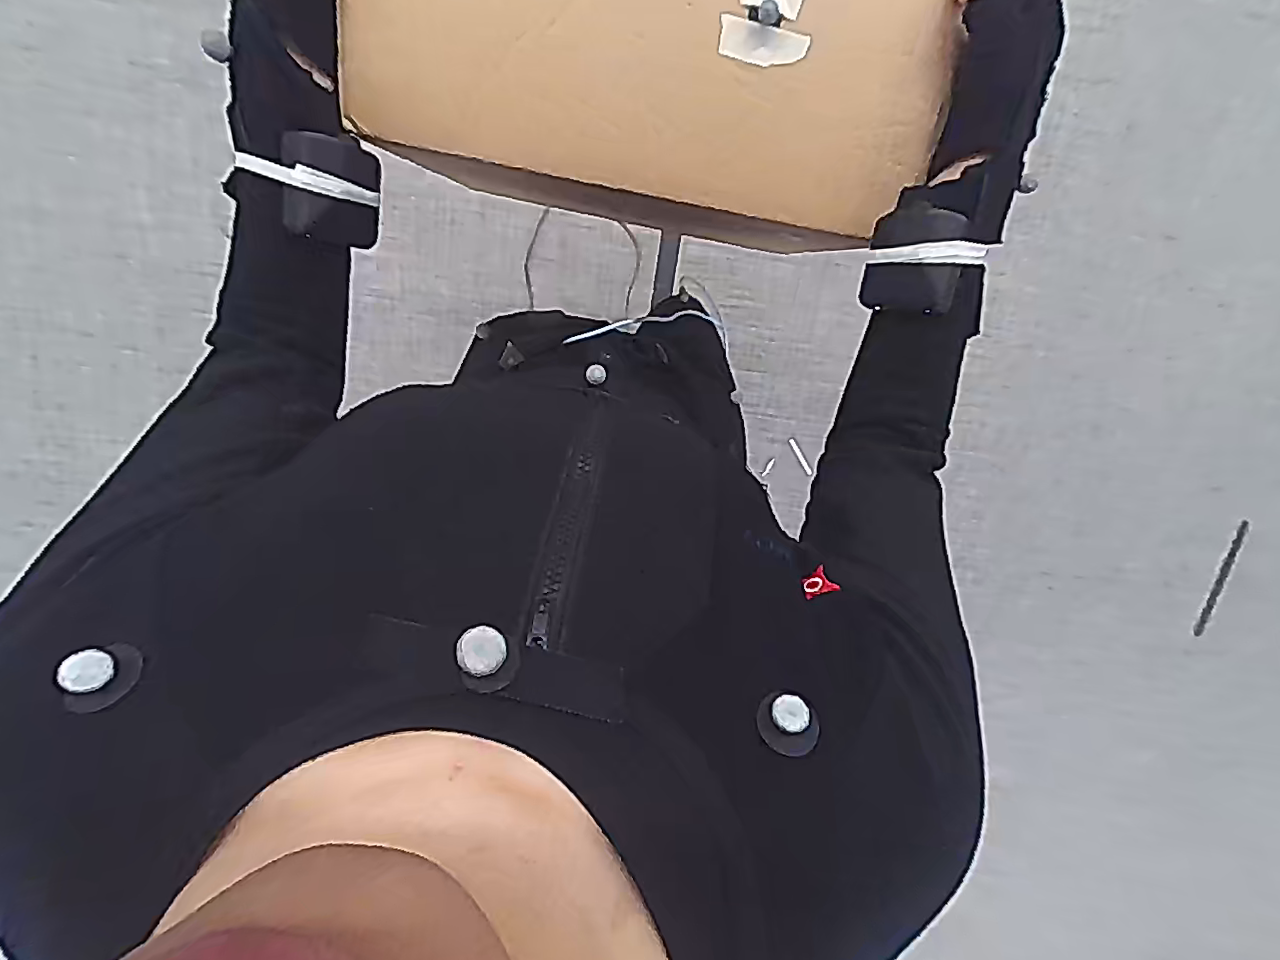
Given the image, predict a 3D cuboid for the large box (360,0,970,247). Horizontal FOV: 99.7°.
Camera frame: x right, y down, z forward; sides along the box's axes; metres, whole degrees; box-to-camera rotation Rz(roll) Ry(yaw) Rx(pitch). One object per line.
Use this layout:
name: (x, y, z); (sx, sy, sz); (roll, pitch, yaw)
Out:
large box: (0.019, -0.406, 0.477); (0.408, 0.320, 0.320); (8, 112, -6)
